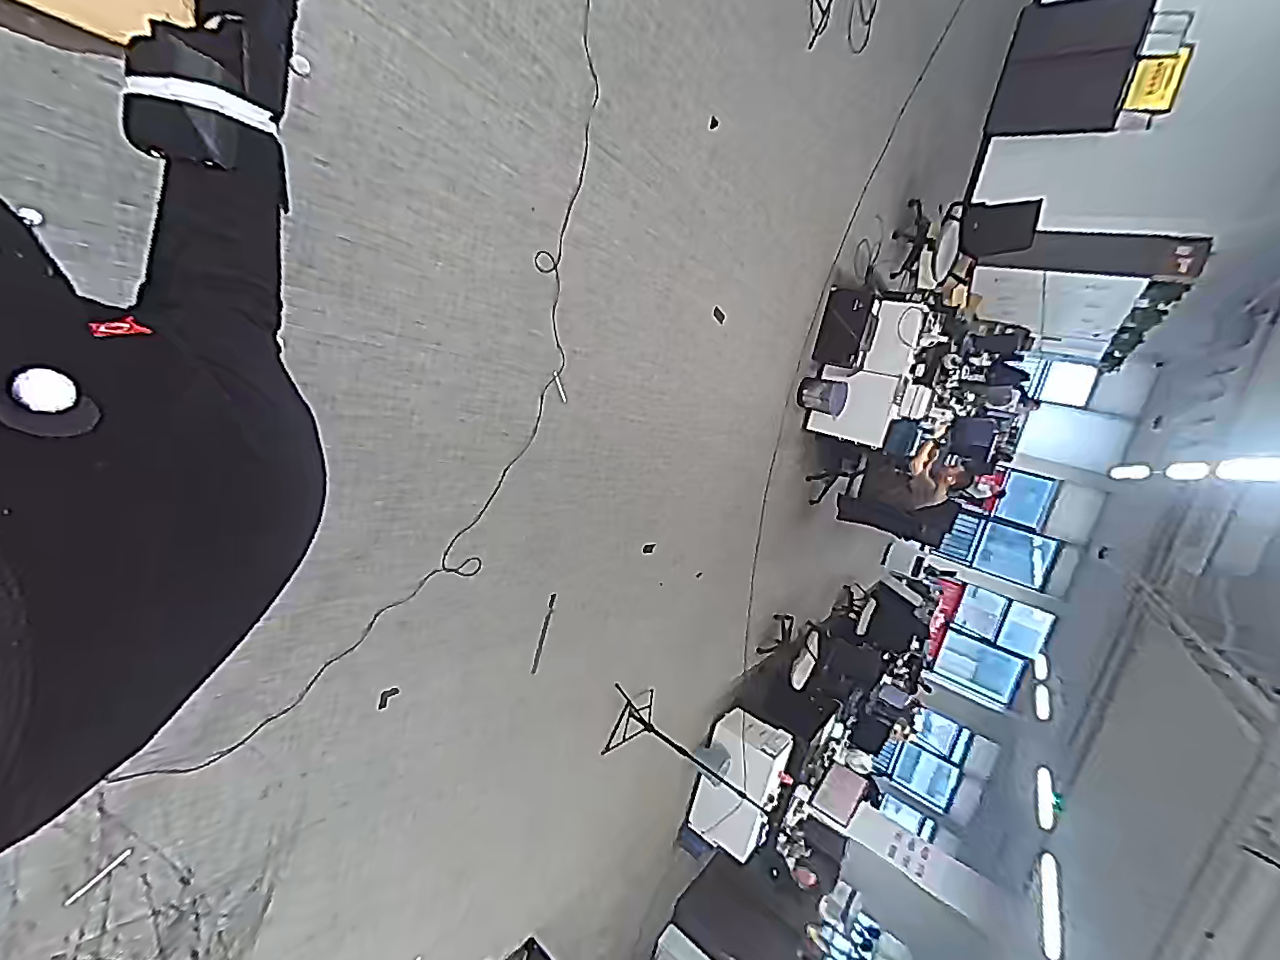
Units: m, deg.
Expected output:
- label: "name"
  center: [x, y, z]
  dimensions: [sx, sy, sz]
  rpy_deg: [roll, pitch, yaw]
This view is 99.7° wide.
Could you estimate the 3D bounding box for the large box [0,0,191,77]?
- label: "large box"
  center: [-0.499, -0.455, 0.236]
  dimensions: [0.408, 0.320, 0.320]
  rpy_deg: [-11, 125, -56]
